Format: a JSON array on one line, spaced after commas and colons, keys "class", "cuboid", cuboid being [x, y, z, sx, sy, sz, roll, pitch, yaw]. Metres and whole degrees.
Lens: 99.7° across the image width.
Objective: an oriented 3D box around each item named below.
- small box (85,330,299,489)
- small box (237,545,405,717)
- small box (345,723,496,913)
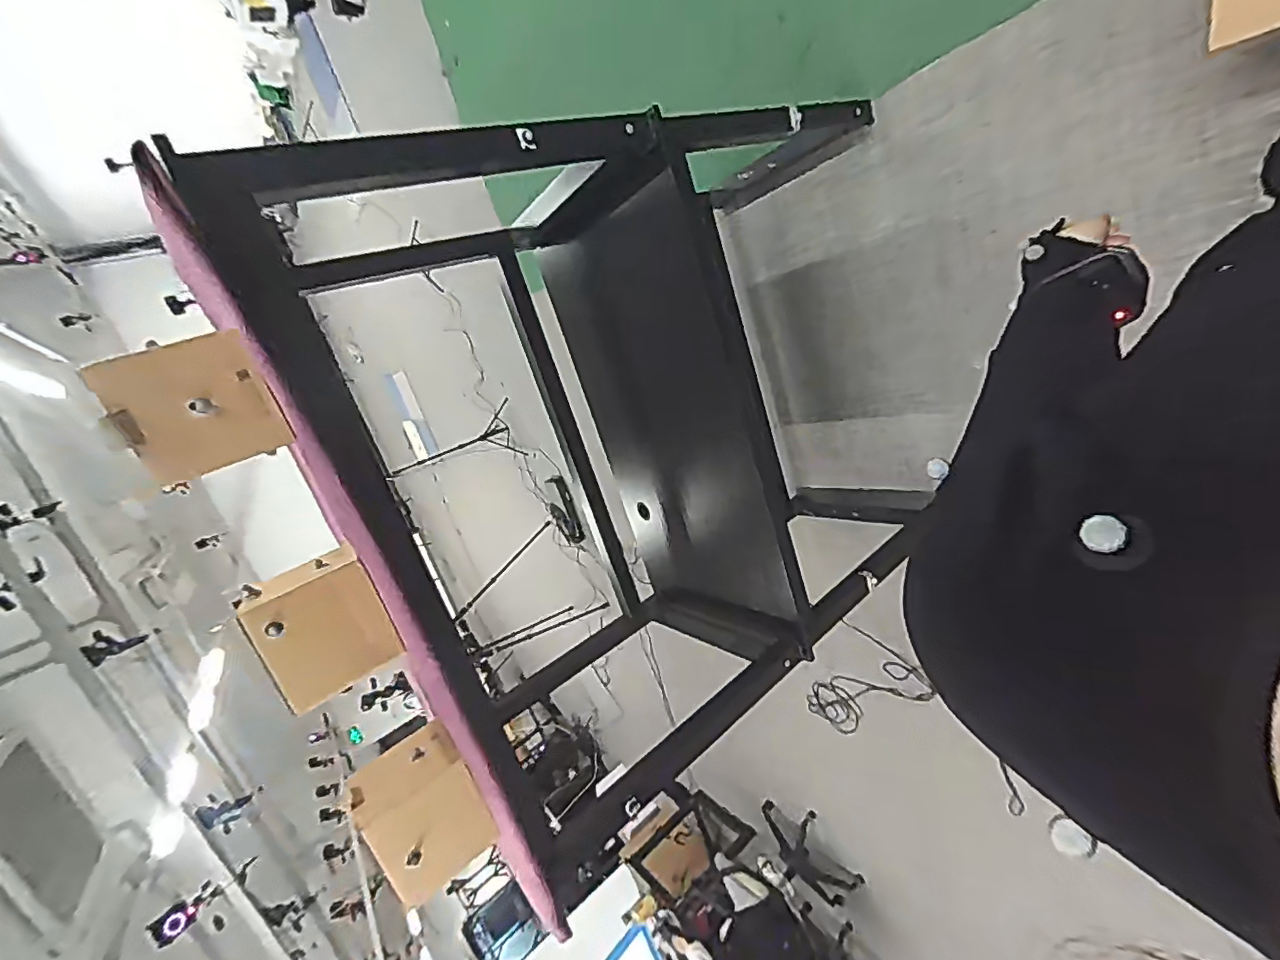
[{"class": "small box", "cuboid": [-0.611, -0.106, 0.765, 0.179, 0.176, 0.168, 15, 127, 54]}, {"class": "small box", "cuboid": [-0.492, 0.224, 0.852, 0.168, 0.176, 0.179, 3, 116, 58]}, {"class": "small box", "cuboid": [-0.370, 0.559, 0.920, 0.168, 0.176, 0.179, 1, 114, 55]}]
